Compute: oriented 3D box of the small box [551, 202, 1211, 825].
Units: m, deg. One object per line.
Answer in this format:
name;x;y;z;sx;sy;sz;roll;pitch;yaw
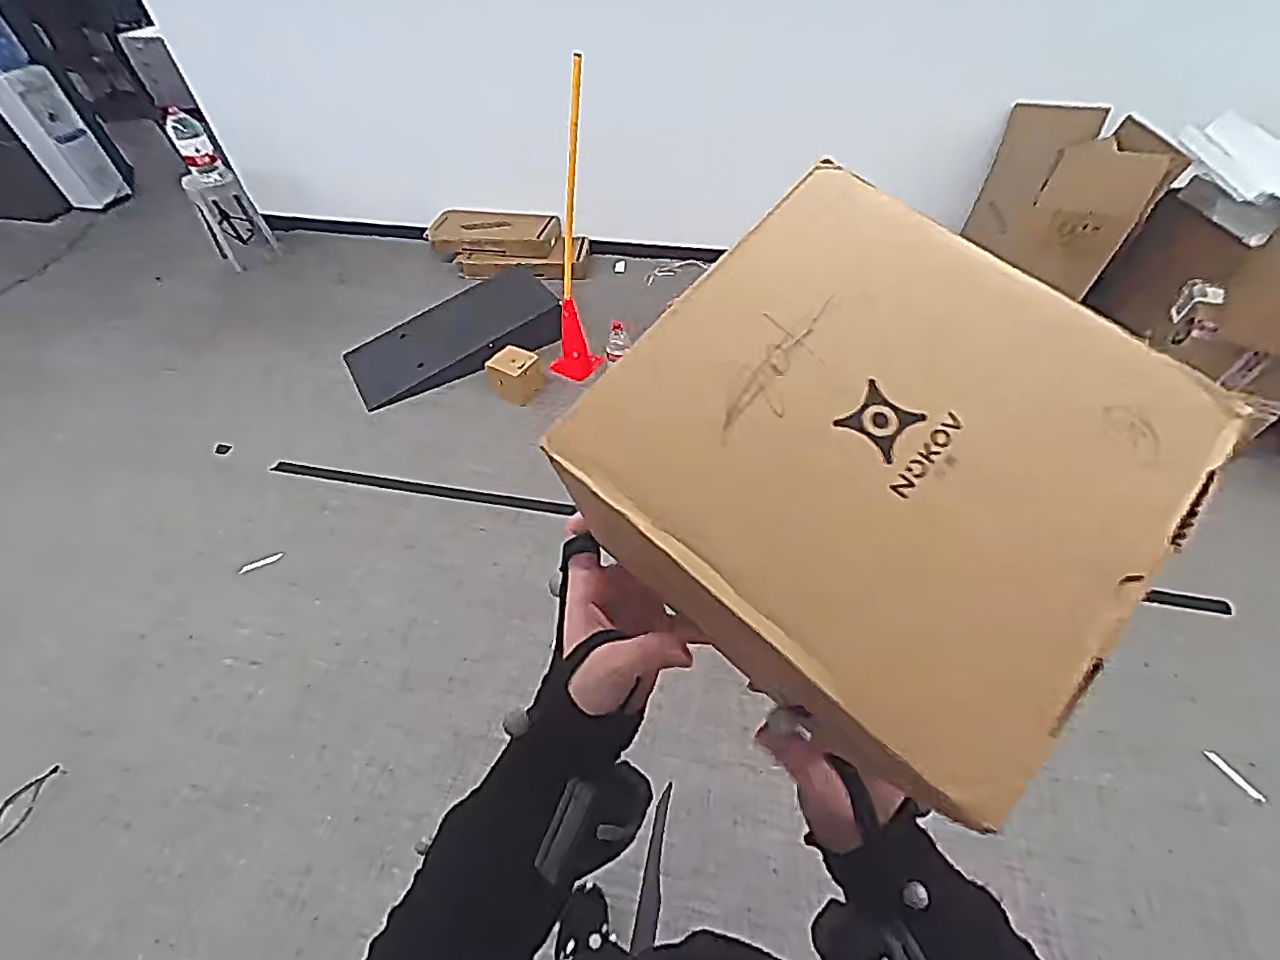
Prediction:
small box;0.087;0.016;0.268;0.179;0.176;0.168;38;76;15
